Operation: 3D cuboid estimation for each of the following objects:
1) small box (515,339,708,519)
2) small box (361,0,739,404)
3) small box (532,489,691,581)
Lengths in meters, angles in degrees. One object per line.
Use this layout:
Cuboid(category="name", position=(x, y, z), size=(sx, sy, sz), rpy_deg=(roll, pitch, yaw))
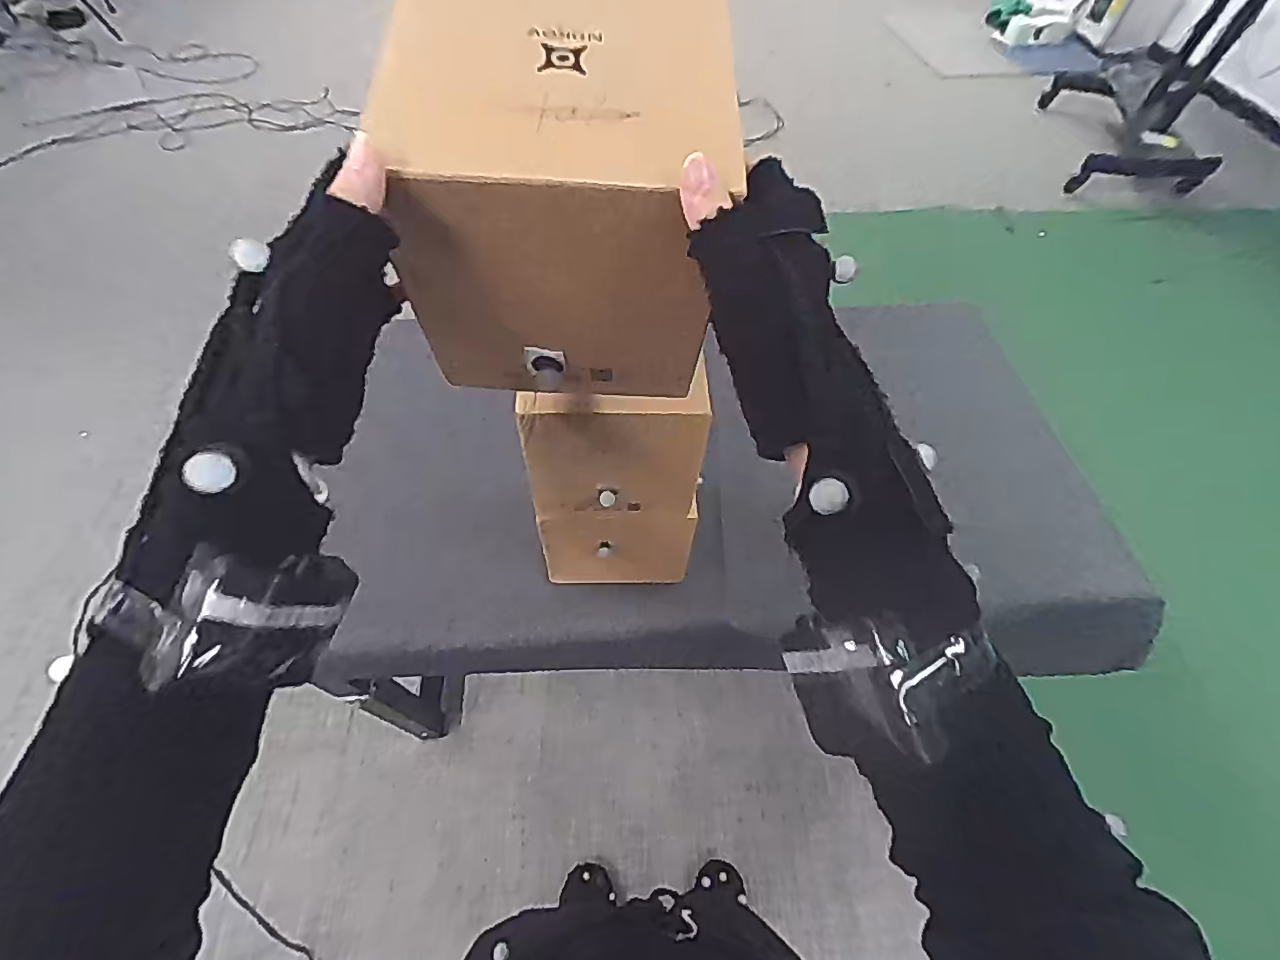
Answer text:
Cuboid(category="small box", position=(-0.028, -0.078, 0.564), size=(0.168, 0.176, 0.179), rpy_deg=(1, 56, -2))
Cuboid(category="small box", position=(-0.042, -0.170, 0.338), size=(0.168, 0.176, 0.179), rpy_deg=(3, 66, -3))
Cuboid(category="small box", position=(-0.033, 0.021, 0.695), size=(0.179, 0.176, 0.168), rpy_deg=(1, 55, -2))
